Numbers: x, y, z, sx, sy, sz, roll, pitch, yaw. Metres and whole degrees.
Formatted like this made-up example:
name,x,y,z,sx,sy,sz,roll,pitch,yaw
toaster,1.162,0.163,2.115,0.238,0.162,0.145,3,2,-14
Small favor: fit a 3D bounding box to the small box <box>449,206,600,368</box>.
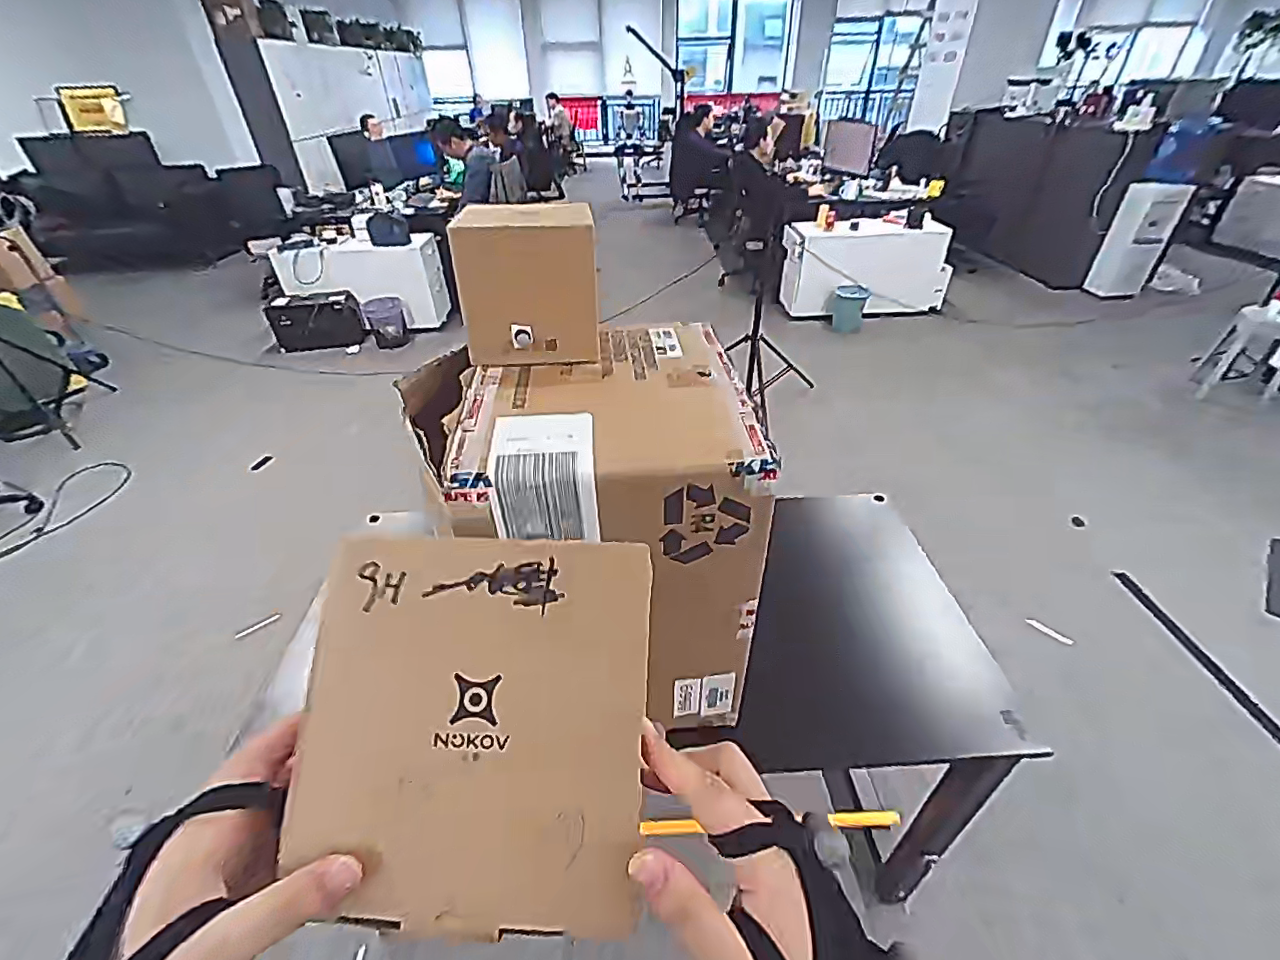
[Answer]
name,x,y,z,sx,sy,sz,roll,pitch,yaw
small box,-0.143,-0.260,0.722,0.168,0.176,0.179,-5,35,-6
